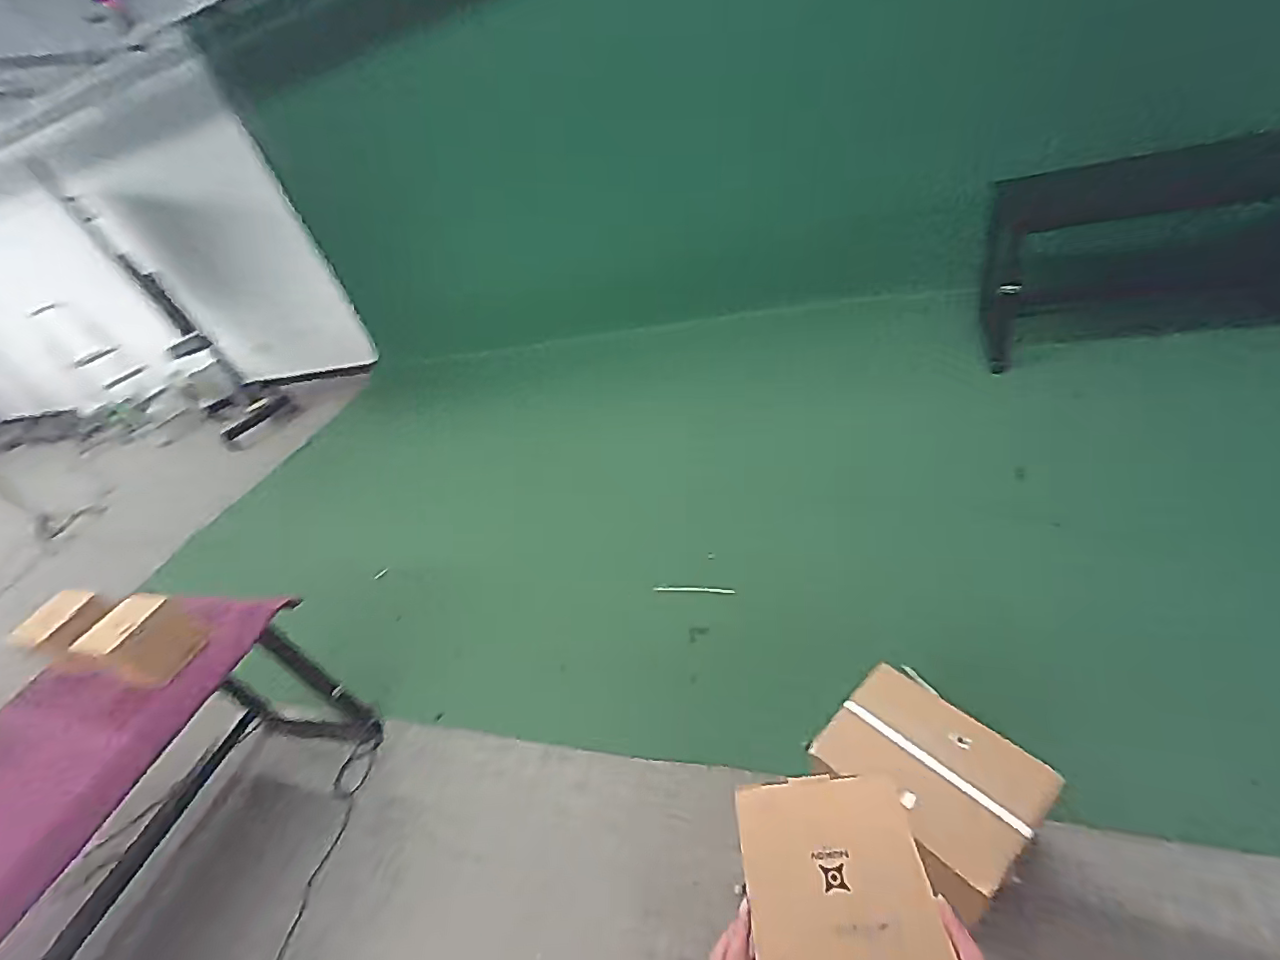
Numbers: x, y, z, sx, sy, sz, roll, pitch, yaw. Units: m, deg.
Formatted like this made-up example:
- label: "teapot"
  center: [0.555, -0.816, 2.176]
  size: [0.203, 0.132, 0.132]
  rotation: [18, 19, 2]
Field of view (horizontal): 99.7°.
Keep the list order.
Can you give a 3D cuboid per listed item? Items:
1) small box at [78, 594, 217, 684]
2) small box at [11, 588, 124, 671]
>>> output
- label: "small box"
  center: [-1.288, 0.419, 1.426]
  size: [0.179, 0.176, 0.168]
  rotation: [-3, 41, 23]
- label: "small box"
  center: [-1.587, 0.426, 1.540]
  size: [0.179, 0.176, 0.168]
  rotation: [-2, 43, 19]
